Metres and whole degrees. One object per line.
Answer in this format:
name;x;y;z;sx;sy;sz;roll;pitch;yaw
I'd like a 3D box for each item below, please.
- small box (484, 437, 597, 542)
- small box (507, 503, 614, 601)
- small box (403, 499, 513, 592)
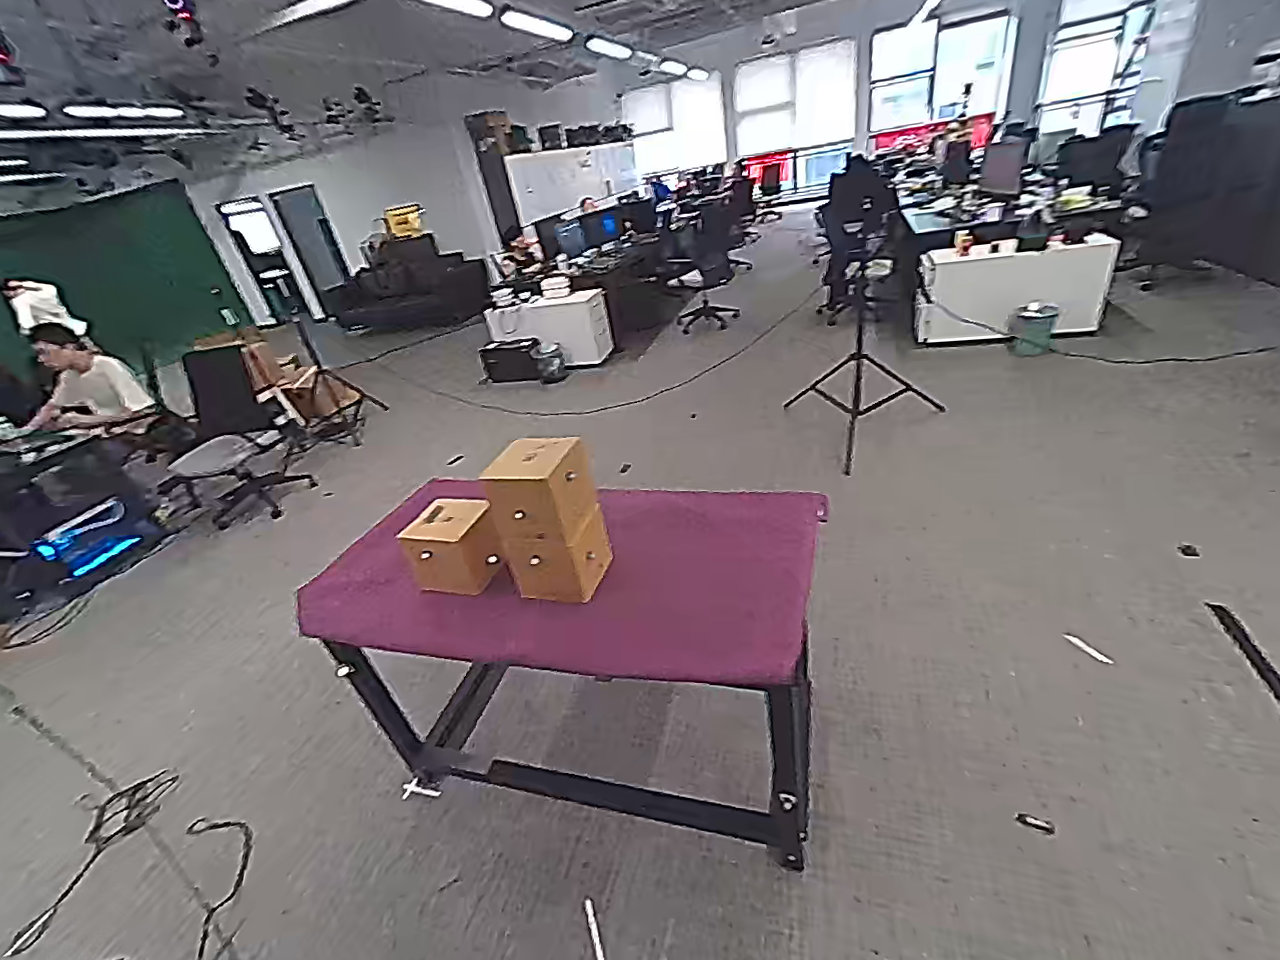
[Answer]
small box;-0.208;0.021;1.192;0.168;0.176;0.179;1;32;21
small box;-0.176;0.165;1.266;0.179;0.176;0.168;1;32;21
small box;-0.447;0.163;1.357;0.179;0.176;0.168;2;33;20
